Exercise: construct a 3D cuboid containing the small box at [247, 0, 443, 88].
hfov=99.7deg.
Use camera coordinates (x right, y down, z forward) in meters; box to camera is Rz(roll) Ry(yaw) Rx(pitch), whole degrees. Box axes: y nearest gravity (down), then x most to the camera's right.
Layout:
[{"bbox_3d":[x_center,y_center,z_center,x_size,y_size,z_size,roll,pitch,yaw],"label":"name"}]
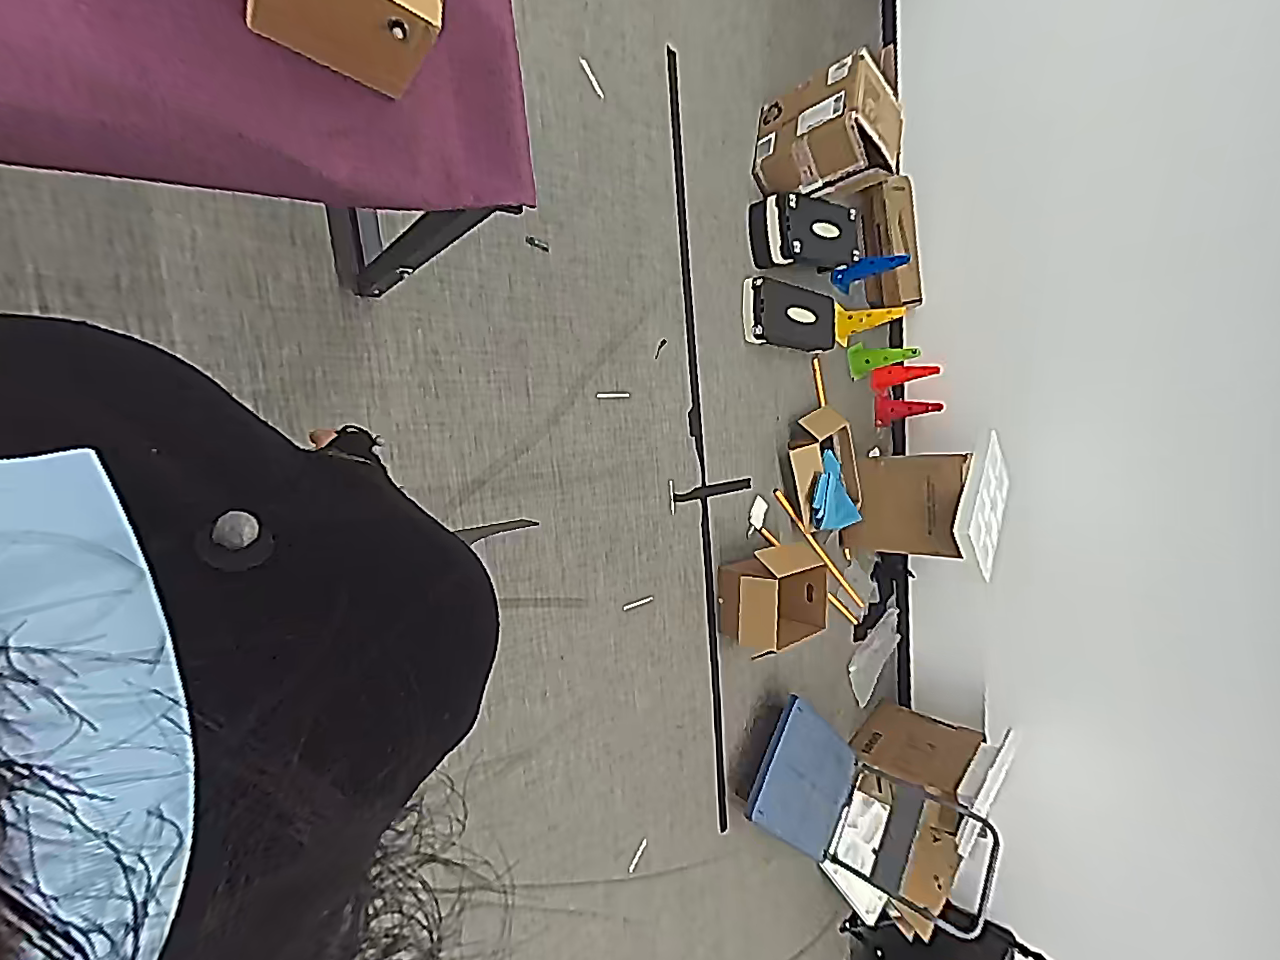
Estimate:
[{"bbox_3d":[-0.345,-0.612,0.633,0.179,0.176,0.168,2,90,-42],"label":"small box"}]
